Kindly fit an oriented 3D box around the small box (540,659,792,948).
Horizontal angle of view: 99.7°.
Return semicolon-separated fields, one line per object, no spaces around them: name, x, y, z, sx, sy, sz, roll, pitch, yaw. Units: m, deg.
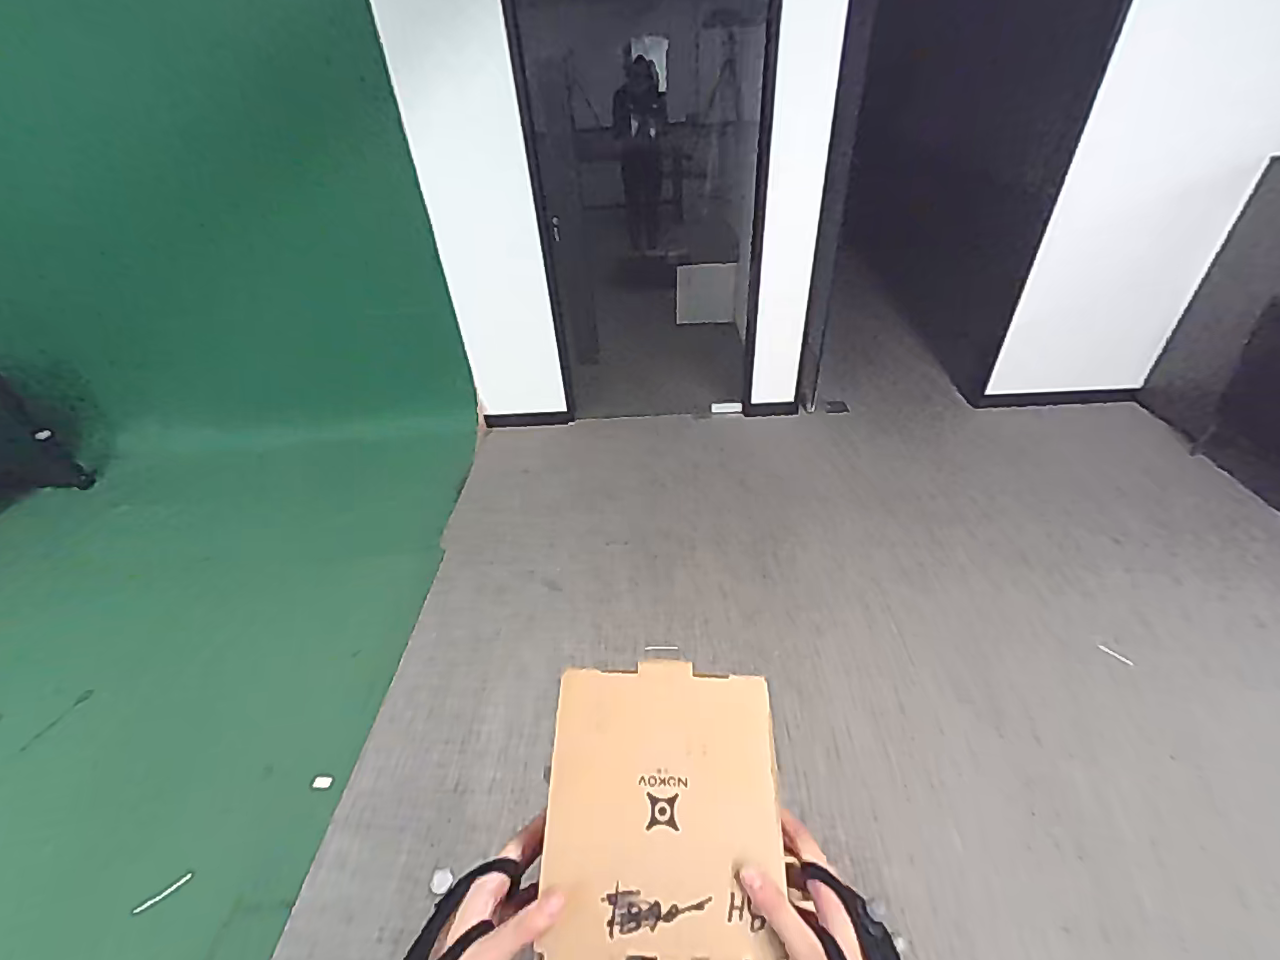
small box;0.017;0.267;0.457;0.168;0.176;0.179;3;56;0
